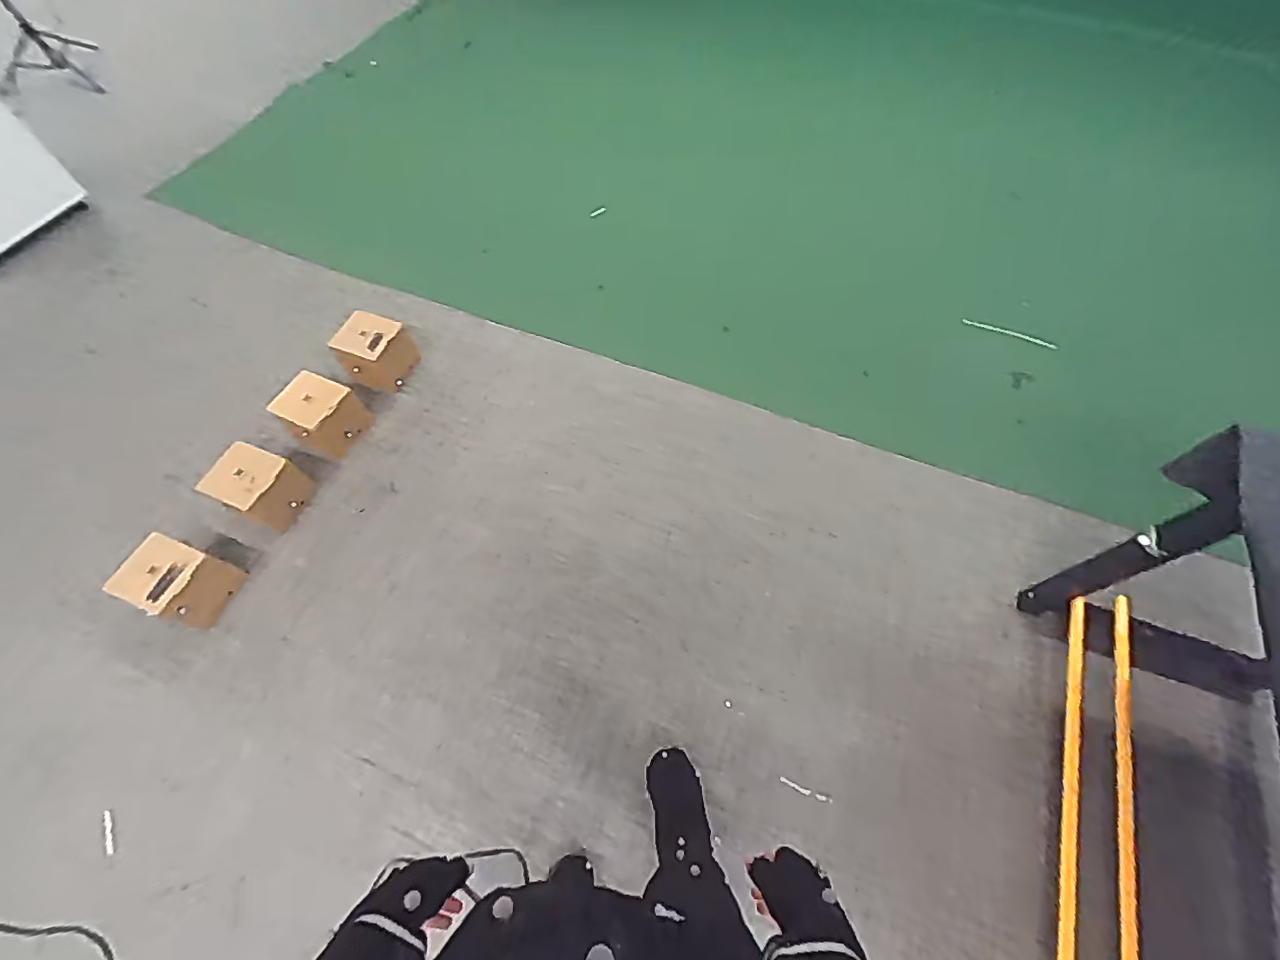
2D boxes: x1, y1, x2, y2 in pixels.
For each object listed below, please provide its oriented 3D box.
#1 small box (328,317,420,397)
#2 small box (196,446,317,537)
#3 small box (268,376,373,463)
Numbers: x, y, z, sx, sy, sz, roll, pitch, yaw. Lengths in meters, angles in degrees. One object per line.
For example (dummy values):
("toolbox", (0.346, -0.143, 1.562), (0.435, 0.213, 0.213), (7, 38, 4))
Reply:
("small box", (-0.851, -0.393, 1.752), (0.179, 0.176, 0.168), (18, 62, 10))
("small box", (-1.056, 0.037, 1.505), (0.179, 0.176, 0.168), (20, 63, 10))
("small box", (-0.954, -0.177, 1.630), (0.179, 0.176, 0.168), (22, 62, 11))
